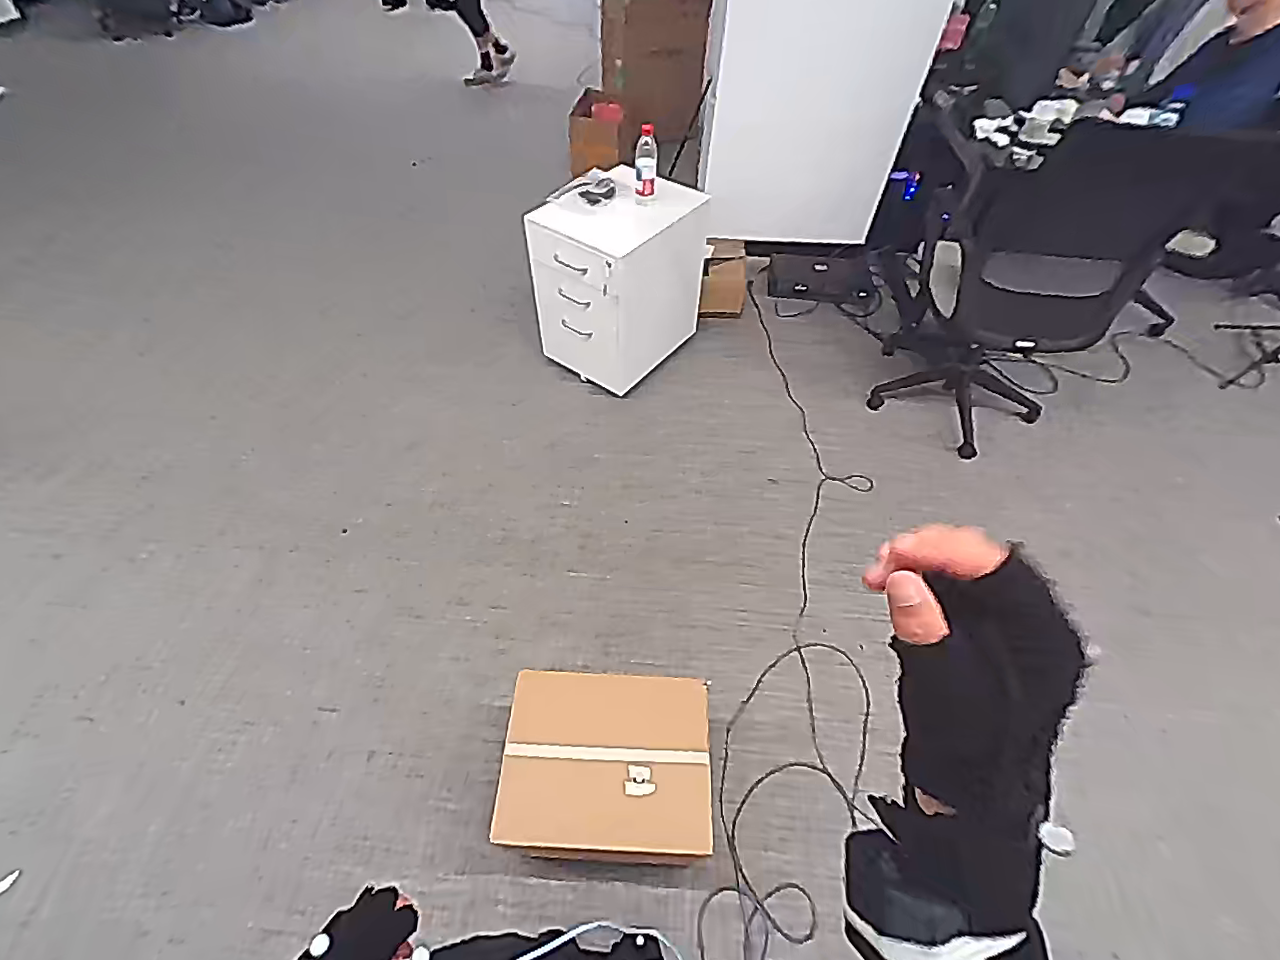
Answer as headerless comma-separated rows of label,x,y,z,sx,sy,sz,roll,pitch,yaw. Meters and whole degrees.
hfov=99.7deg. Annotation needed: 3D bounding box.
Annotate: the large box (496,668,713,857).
large box,-0.068,0.627,1.188,0.408,0.320,0.320,3,52,0
